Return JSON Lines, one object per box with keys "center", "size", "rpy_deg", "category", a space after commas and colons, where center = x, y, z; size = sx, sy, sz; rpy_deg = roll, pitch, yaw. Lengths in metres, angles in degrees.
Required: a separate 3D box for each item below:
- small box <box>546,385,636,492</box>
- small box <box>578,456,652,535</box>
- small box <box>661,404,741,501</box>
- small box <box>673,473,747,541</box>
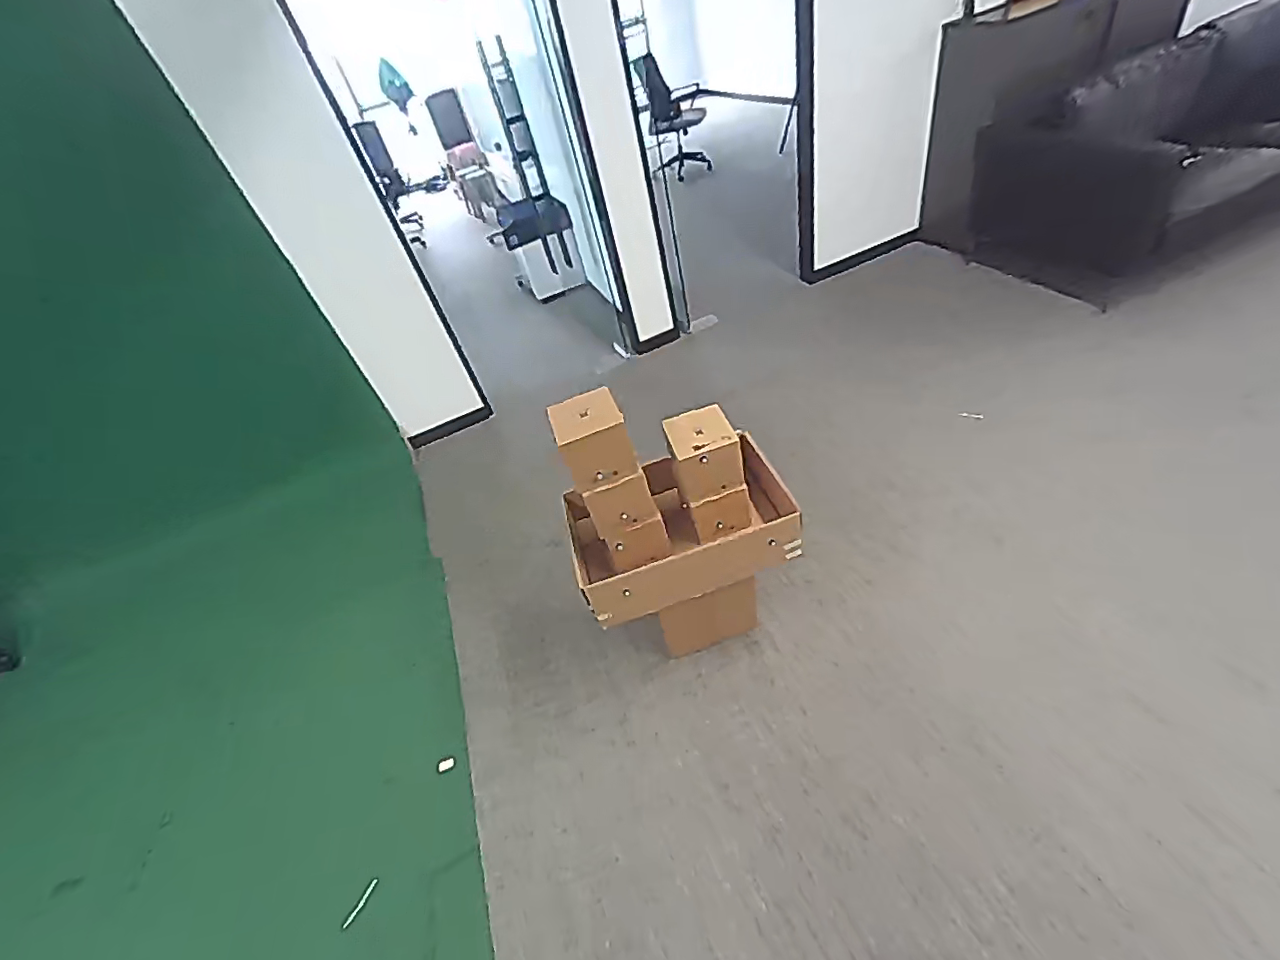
{"center": [-0.121, -0.102, 1.345], "size": [0.168, 0.176, 0.179], "rpy_deg": [-21, 43, -4], "category": "small box"}
{"center": [-0.080, 0.016, 1.449], "size": [0.168, 0.176, 0.179], "rpy_deg": [-21, 43, -5], "category": "small box"}
{"center": [0.167, -0.074, 1.471], "size": [0.168, 0.176, 0.179], "rpy_deg": [-18, 44, -2], "category": "small box"}
{"center": [0.203, 0.046, 1.578], "size": [0.168, 0.176, 0.179], "rpy_deg": [-19, 45, -3], "category": "small box"}
